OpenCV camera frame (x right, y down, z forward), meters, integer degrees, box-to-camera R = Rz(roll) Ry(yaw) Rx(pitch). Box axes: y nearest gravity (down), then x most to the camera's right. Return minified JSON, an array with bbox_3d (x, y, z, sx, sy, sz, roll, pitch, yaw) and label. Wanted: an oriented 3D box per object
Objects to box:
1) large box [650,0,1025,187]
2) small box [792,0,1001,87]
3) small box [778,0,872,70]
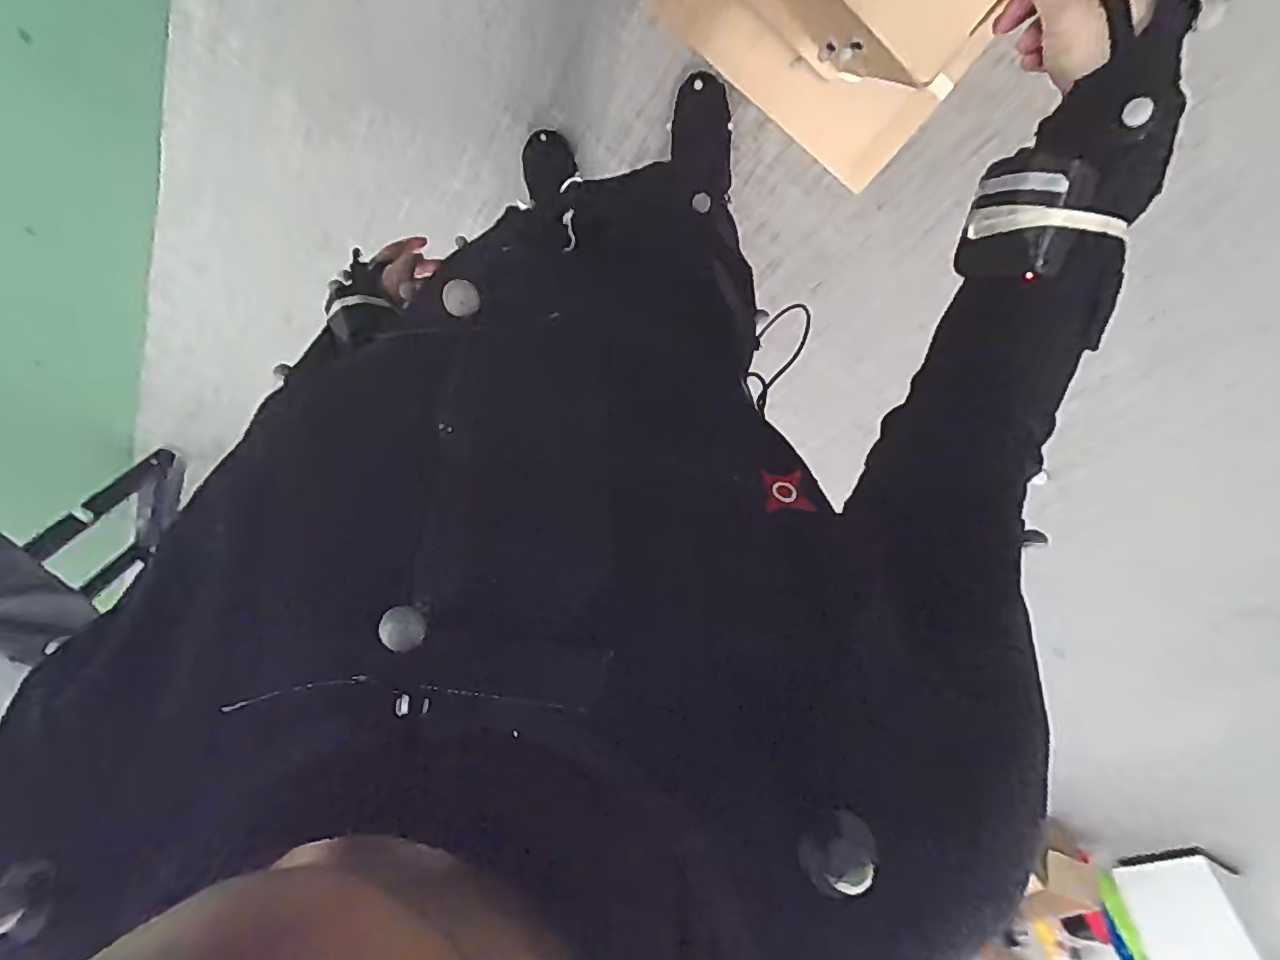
[{"bbox_3d":[0.273,-0.723,0.793,0.408,0.320,0.320,31,129,-16],"label":"large box"},{"bbox_3d":[0.167,-0.393,0.339,0.179,0.176,0.168,32,126,-15],"label":"small box"},{"bbox_3d":[0.191,-0.495,0.463,0.179,0.176,0.168,34,126,-19],"label":"small box"}]
